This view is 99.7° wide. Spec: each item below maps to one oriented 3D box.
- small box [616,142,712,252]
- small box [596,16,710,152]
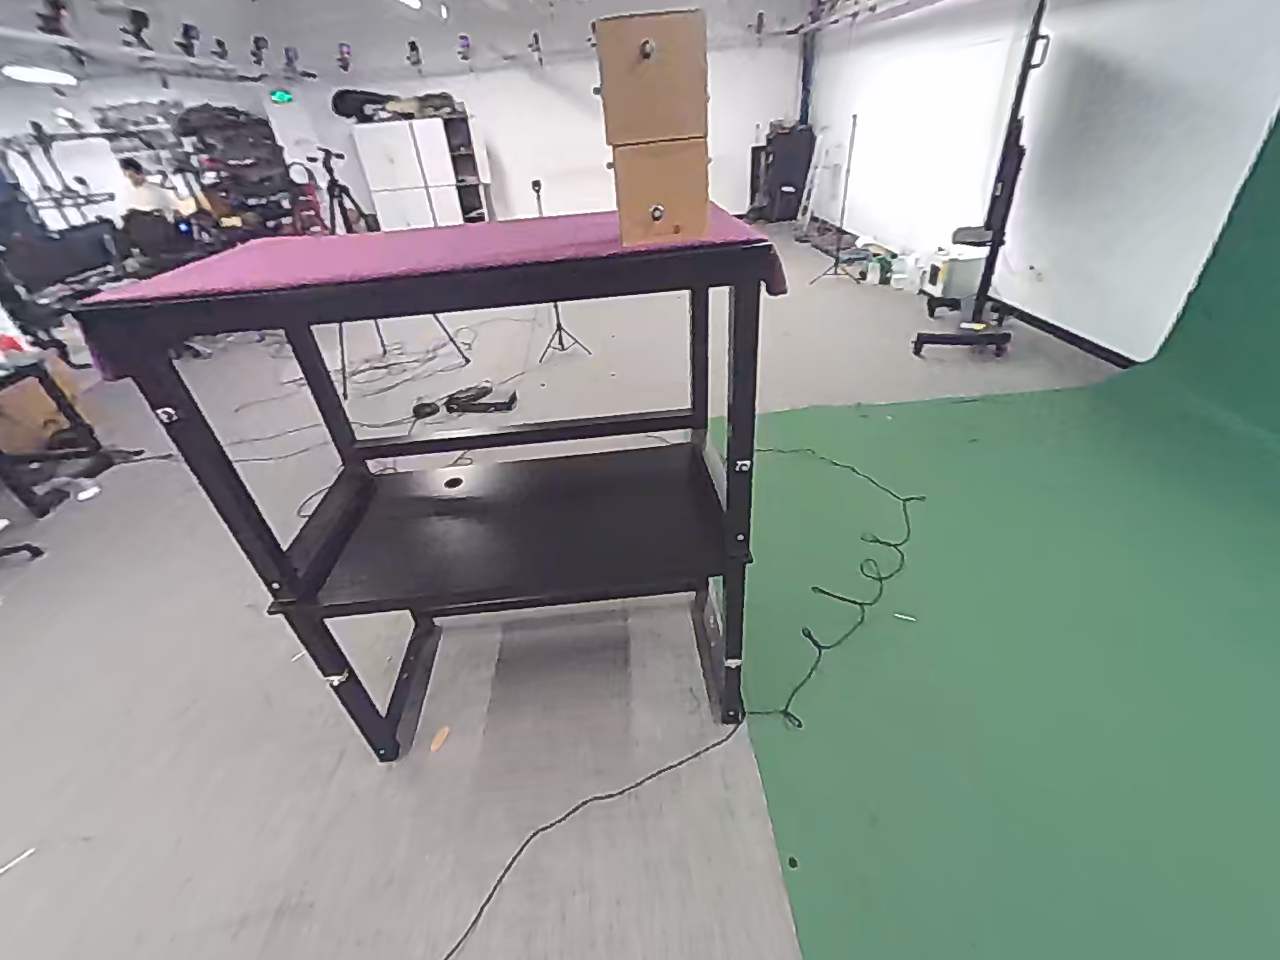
[{"bbox_3d":[0.042,-0.544,1.037,0.168,0.176,0.179,-6,34,0],"label":"small box"},{"bbox_3d":[0.023,-0.676,0.940,0.179,0.176,0.168,-6,35,0],"label":"small box"}]
